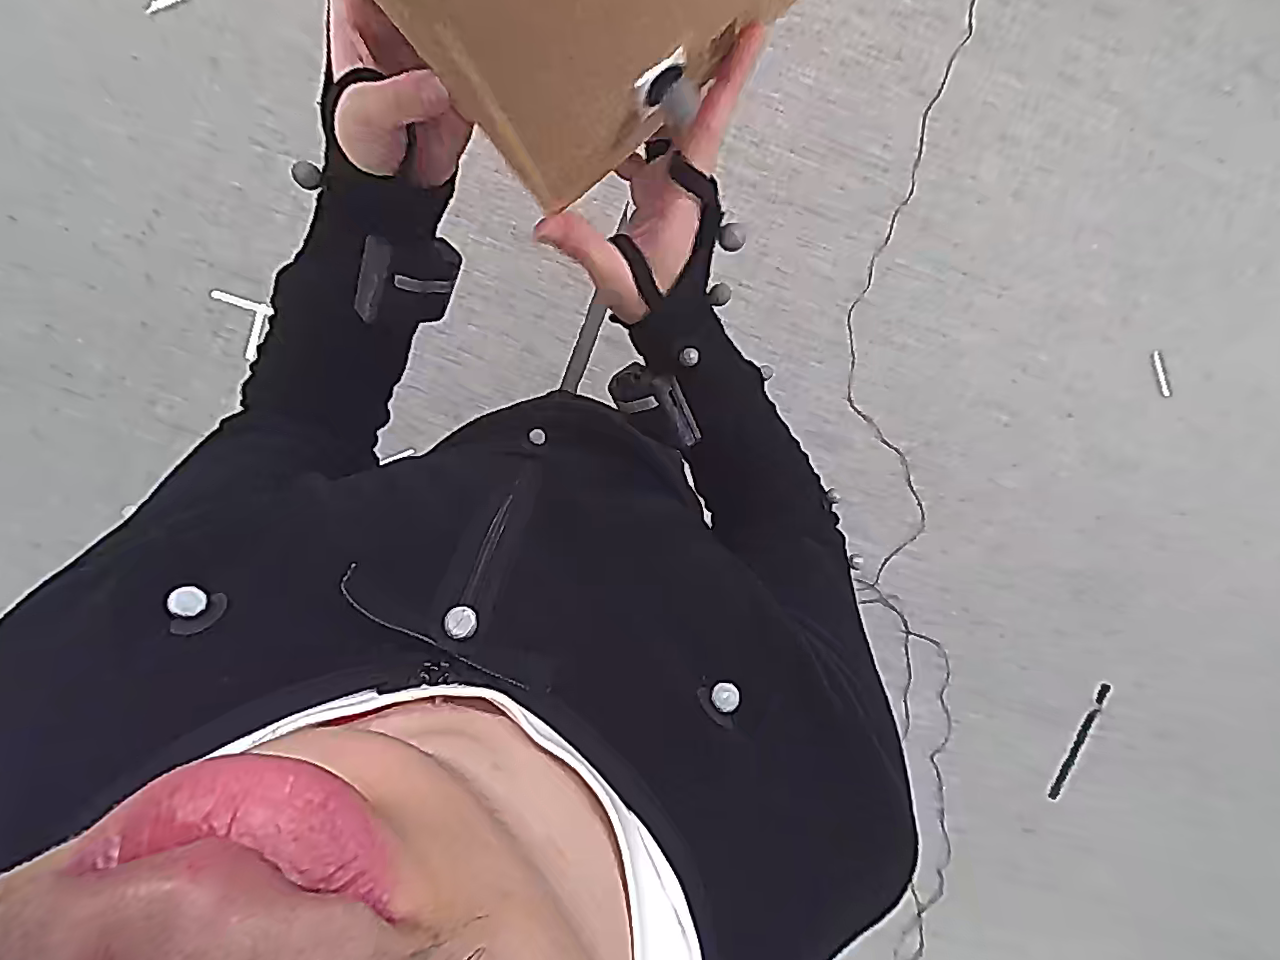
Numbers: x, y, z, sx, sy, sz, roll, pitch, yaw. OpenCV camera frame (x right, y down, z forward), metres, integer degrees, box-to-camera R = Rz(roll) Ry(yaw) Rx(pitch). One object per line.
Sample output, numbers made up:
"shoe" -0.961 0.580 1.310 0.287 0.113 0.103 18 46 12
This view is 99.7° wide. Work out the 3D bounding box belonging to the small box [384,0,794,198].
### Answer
"small box" -0.036 -0.240 0.186 0.168 0.176 0.179 -41 96 10
